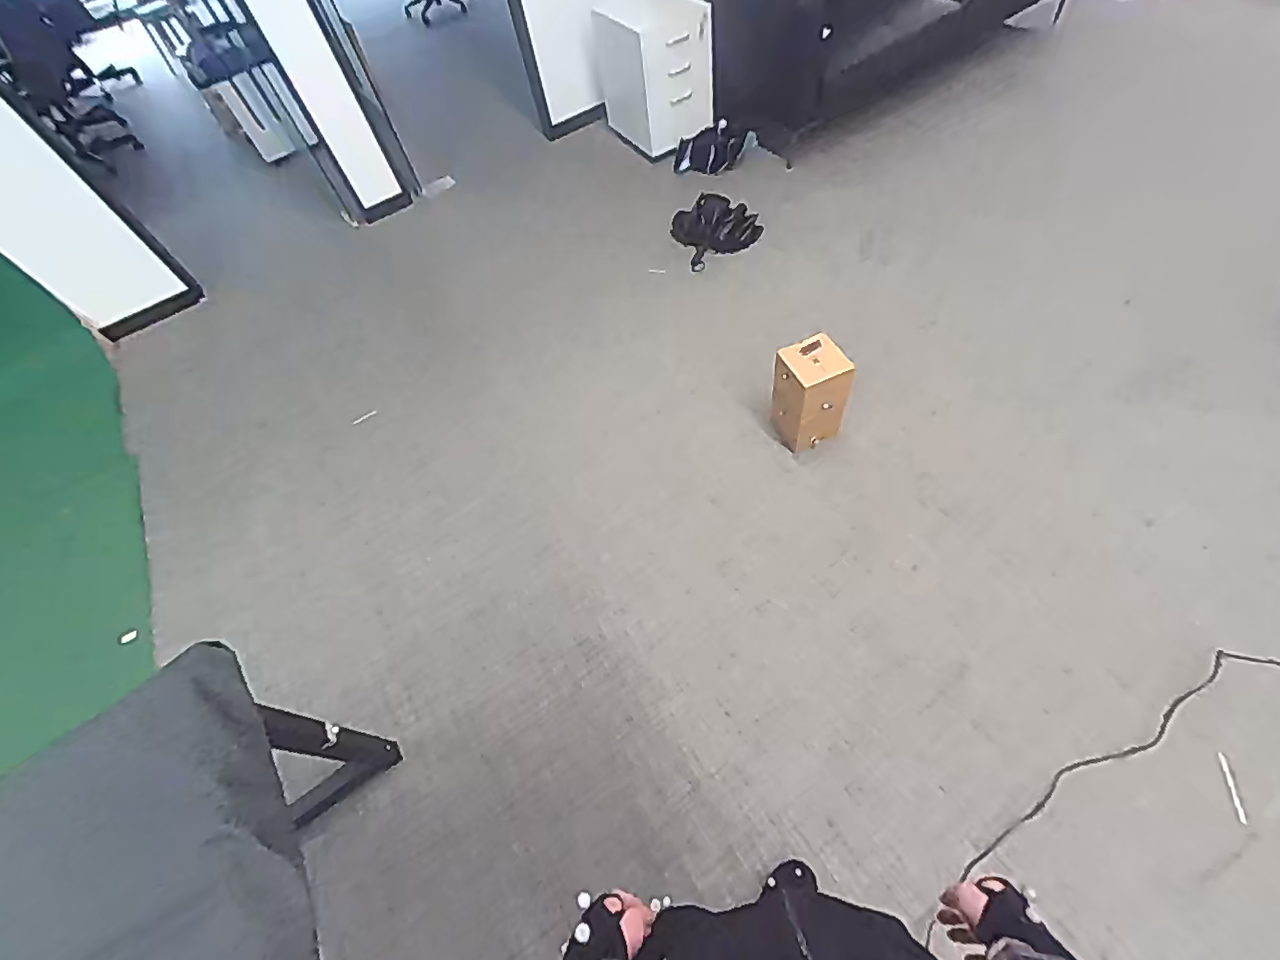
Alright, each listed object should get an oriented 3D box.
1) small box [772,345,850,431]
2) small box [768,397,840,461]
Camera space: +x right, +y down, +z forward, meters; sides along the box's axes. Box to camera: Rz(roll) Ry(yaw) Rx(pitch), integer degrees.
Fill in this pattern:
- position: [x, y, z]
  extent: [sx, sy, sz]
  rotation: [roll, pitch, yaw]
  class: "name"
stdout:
- position: [0.528, -0.287, 1.703]
  extent: [0.168, 0.176, 0.179]
  rotation: [-22, 57, -5]
  class: "small box"
- position: [0.548, -0.196, 1.839]
  extent: [0.168, 0.176, 0.179]
  rotation: [-23, 57, -6]
  class: "small box"
